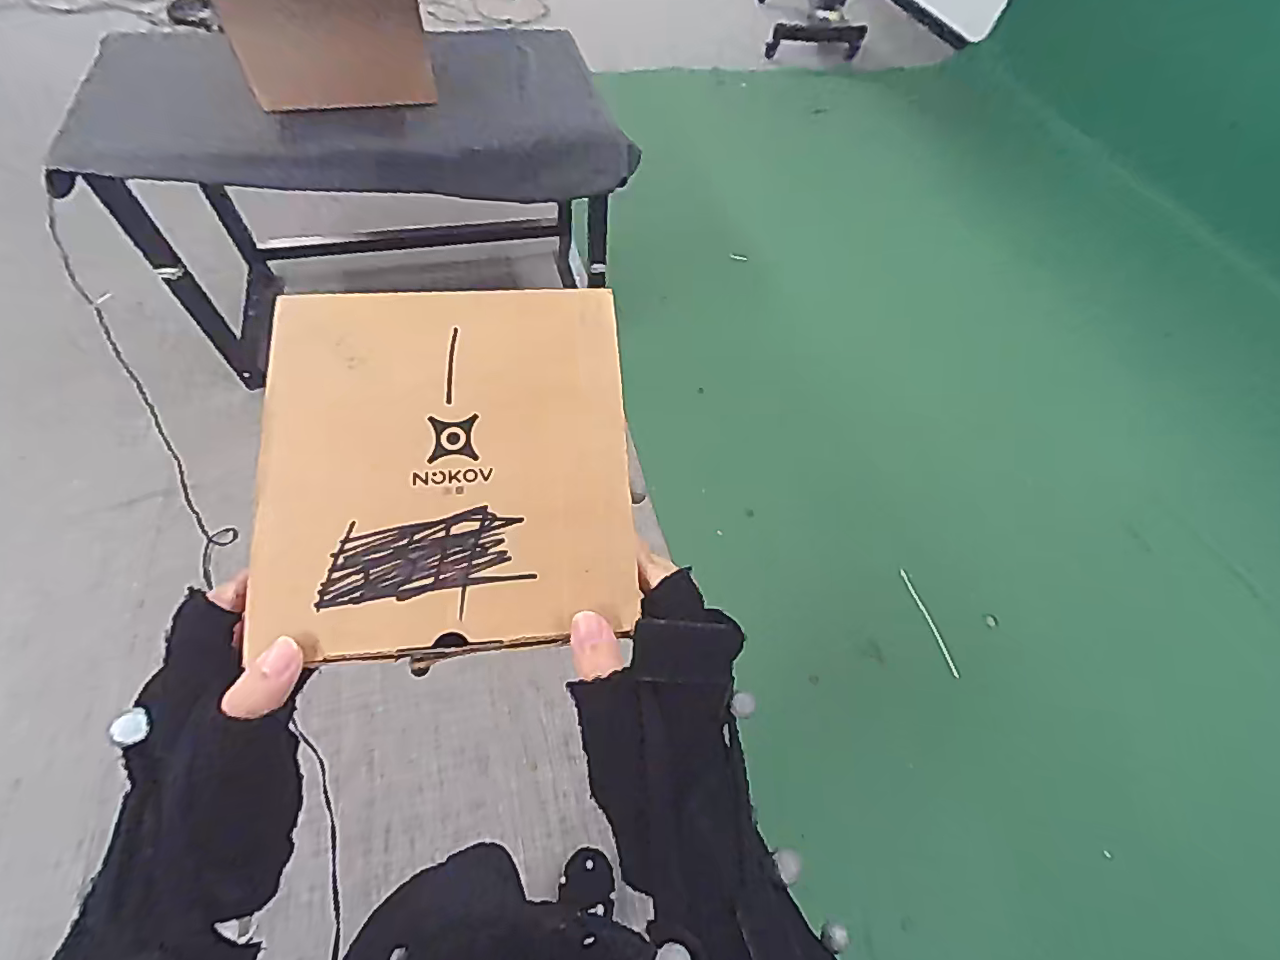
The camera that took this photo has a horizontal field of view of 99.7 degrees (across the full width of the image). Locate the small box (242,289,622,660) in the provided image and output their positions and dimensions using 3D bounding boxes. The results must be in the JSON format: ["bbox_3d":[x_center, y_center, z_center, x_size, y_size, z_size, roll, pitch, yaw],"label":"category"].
[{"bbox_3d":[-0.099,0.009,0.333,0.168,0.176,0.179,-4,74,-6],"label":"small box"}]
